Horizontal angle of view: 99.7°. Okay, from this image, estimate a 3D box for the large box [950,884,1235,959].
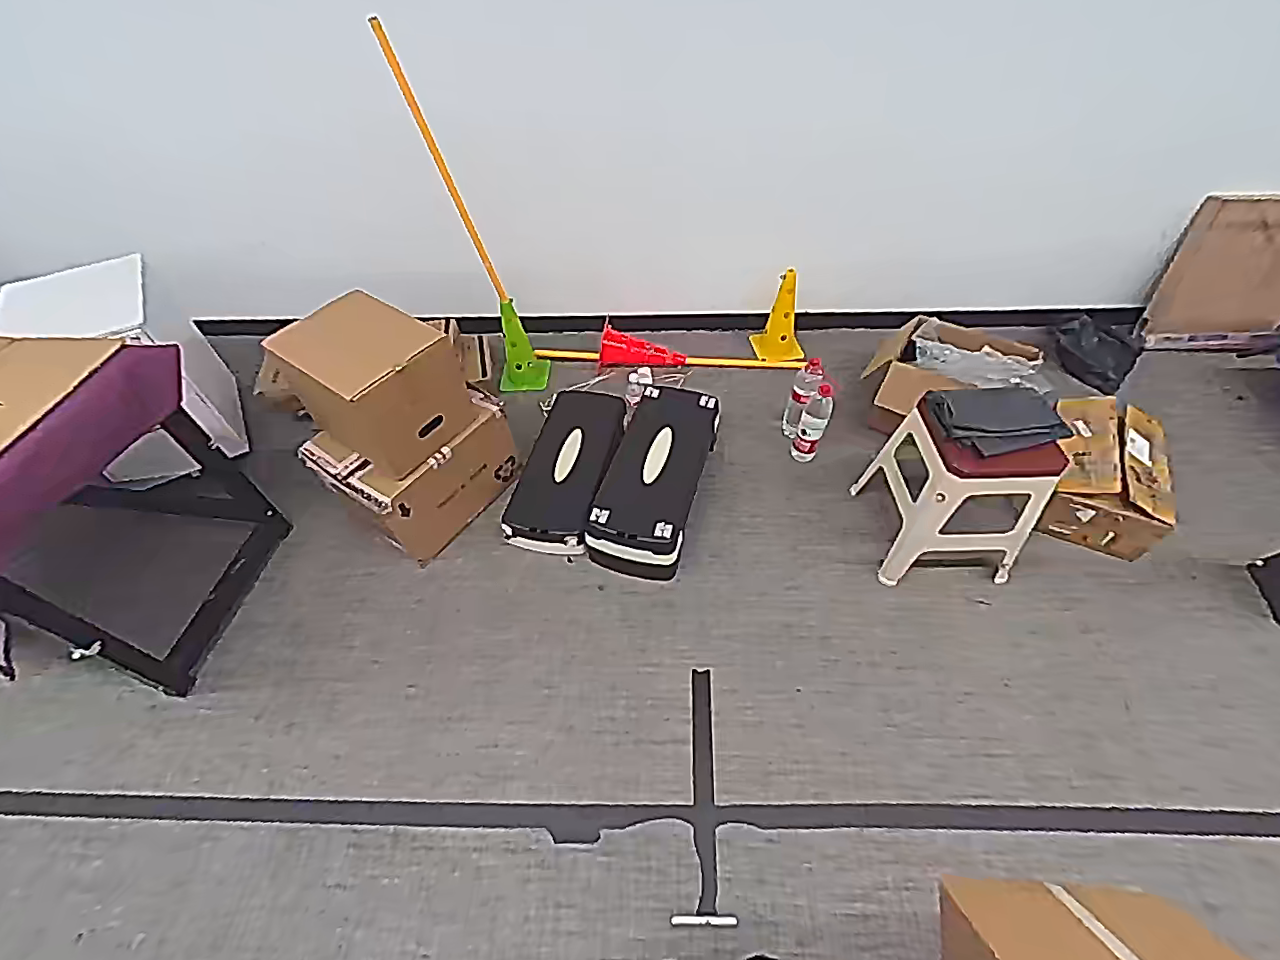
[{"bbox_3d":[0.584,0.737,0.582,0.320,0.408,0.320,1,84,7],"label":"large box"}]
